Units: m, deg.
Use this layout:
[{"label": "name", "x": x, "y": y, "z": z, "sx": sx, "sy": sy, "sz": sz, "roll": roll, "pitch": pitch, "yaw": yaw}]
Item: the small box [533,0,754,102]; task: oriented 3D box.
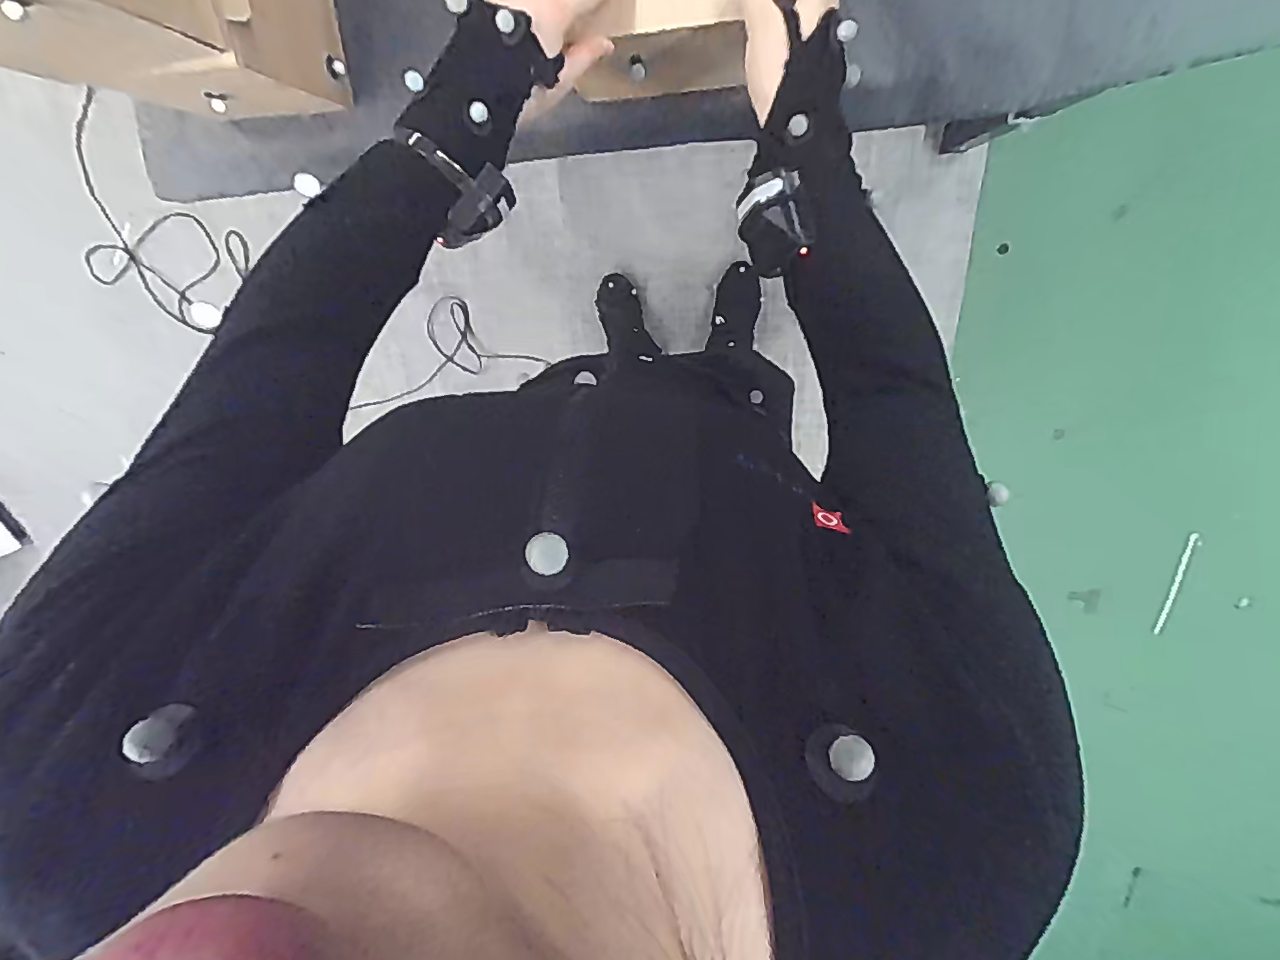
[{"label": "small box", "x": 0.012, "y": -0.455, "z": 0.474, "sx": 0.179, "sy": 0.176, "sz": 0.168, "roll": 1, "pitch": 112, "yaw": 10}]

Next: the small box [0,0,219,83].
[{"label": "small box", "x": -0.467, "y": -0.413, "z": 0.387, "sx": 0.179, "sy": 0.176, "sz": 0.168, "roll": -3, "pitch": 112, "yaw": 10}]

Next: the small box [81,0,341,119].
[{"label": "small box", "x": -0.429, "y": -0.473, "z": 0.534, "sx": 0.179, "sy": 0.176, "sz": 0.168, "roll": 2, "pitch": 113, "yaw": 9}]
